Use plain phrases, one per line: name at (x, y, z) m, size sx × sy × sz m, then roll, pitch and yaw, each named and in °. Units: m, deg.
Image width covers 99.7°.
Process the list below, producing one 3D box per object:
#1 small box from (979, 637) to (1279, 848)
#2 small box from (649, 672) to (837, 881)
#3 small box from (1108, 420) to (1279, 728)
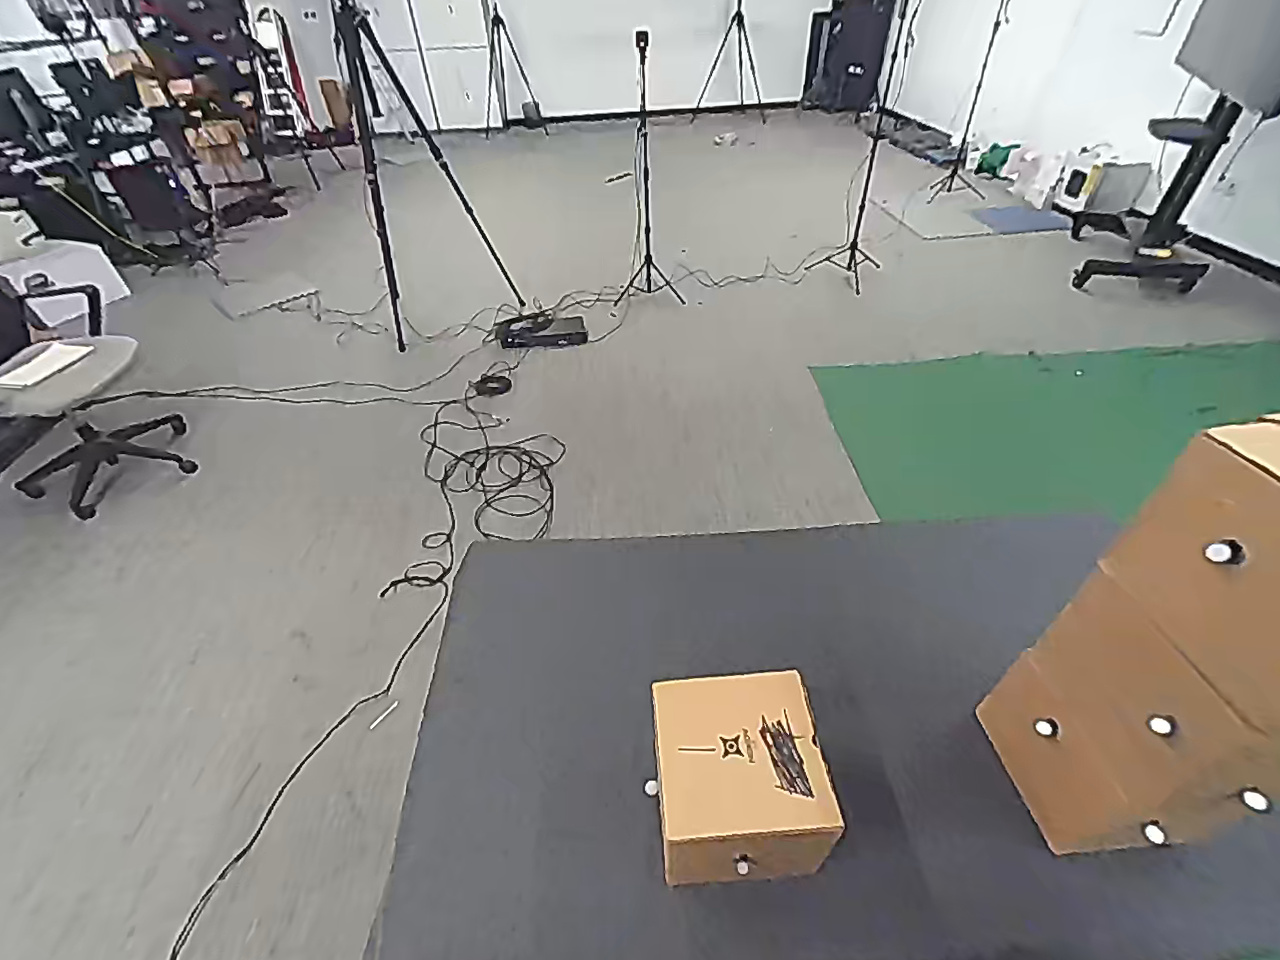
small box at (0.547, 0.311, 0.636) m, size 0.168 × 0.176 × 0.179 m, roll -4°, pitch 41°, yaw -1°
small box at (0.103, 0.343, 0.626) m, size 0.179 × 0.176 × 0.168 m, roll -4°, pitch 42°, yaw 0°
small box at (0.531, 0.067, 0.416) m, size 0.168 × 0.176 × 0.179 m, roll -7°, pitch 41°, yaw -3°
